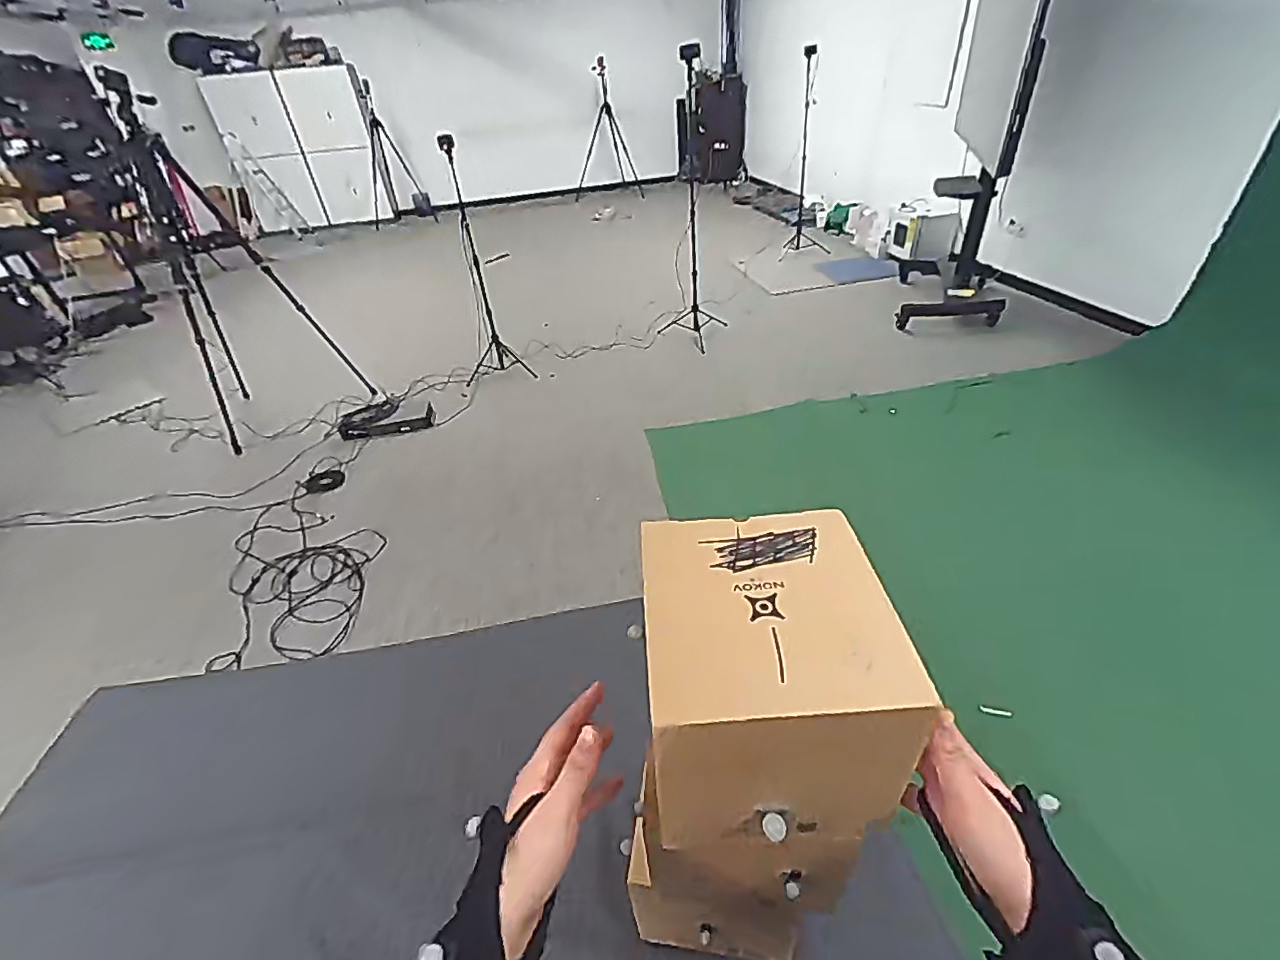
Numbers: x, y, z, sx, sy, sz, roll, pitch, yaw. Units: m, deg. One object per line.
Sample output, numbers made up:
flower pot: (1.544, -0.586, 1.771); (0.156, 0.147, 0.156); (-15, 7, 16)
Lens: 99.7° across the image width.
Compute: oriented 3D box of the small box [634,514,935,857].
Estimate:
small box: (0.082, 0.148, 0.406); (0.168, 0.176, 0.179); (-5, 36, 1)

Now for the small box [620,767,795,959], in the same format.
small box: (0.082, 0.405, 0.609); (0.168, 0.176, 0.179); (2, 36, 10)
